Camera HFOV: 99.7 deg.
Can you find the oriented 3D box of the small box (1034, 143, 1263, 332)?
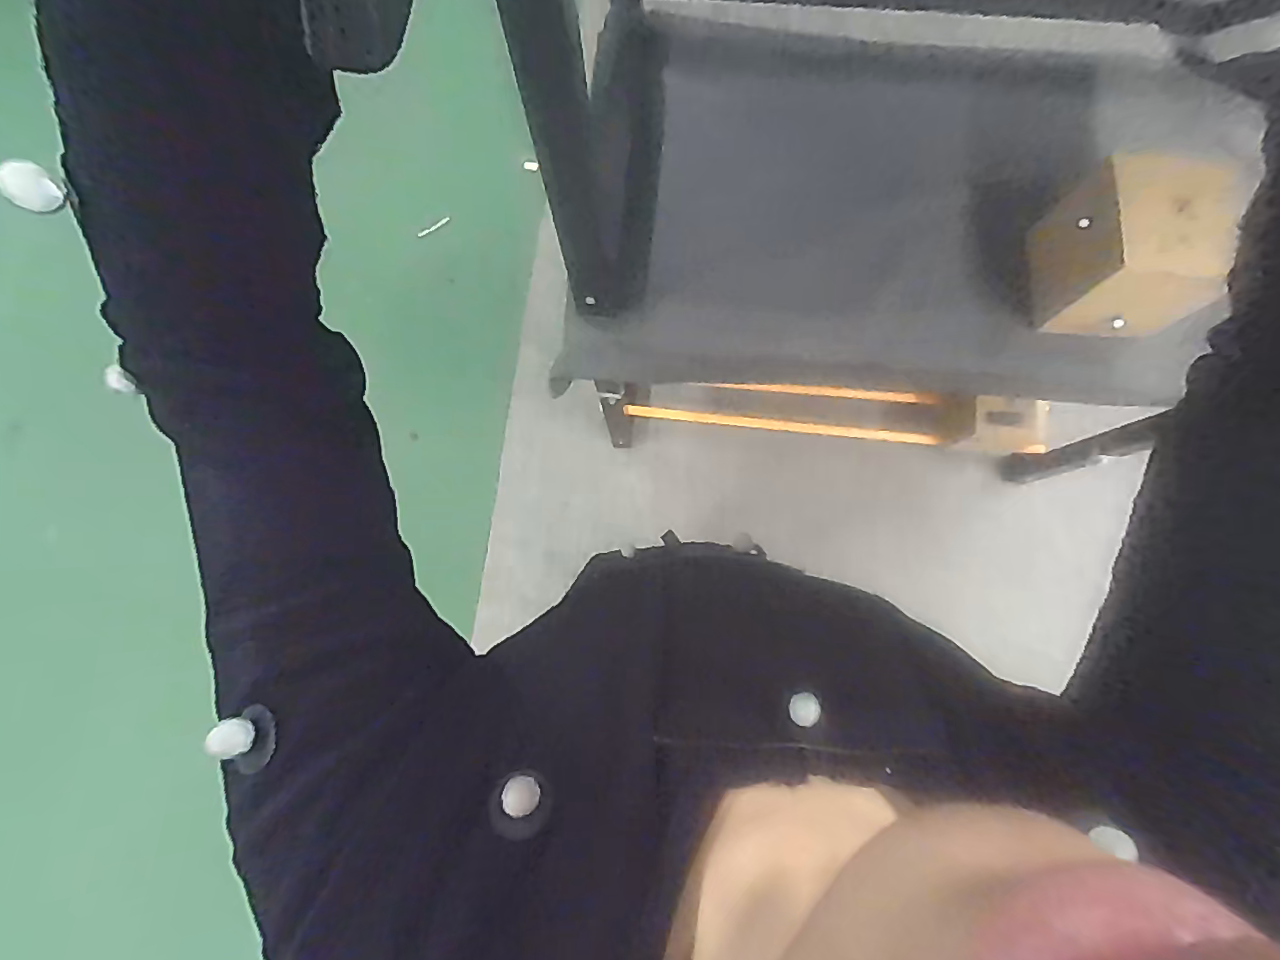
[{"bbox_3d":[0.698,-0.335,0.767,0.168,0.176,0.179,5,77,3],"label":"small box"}]
